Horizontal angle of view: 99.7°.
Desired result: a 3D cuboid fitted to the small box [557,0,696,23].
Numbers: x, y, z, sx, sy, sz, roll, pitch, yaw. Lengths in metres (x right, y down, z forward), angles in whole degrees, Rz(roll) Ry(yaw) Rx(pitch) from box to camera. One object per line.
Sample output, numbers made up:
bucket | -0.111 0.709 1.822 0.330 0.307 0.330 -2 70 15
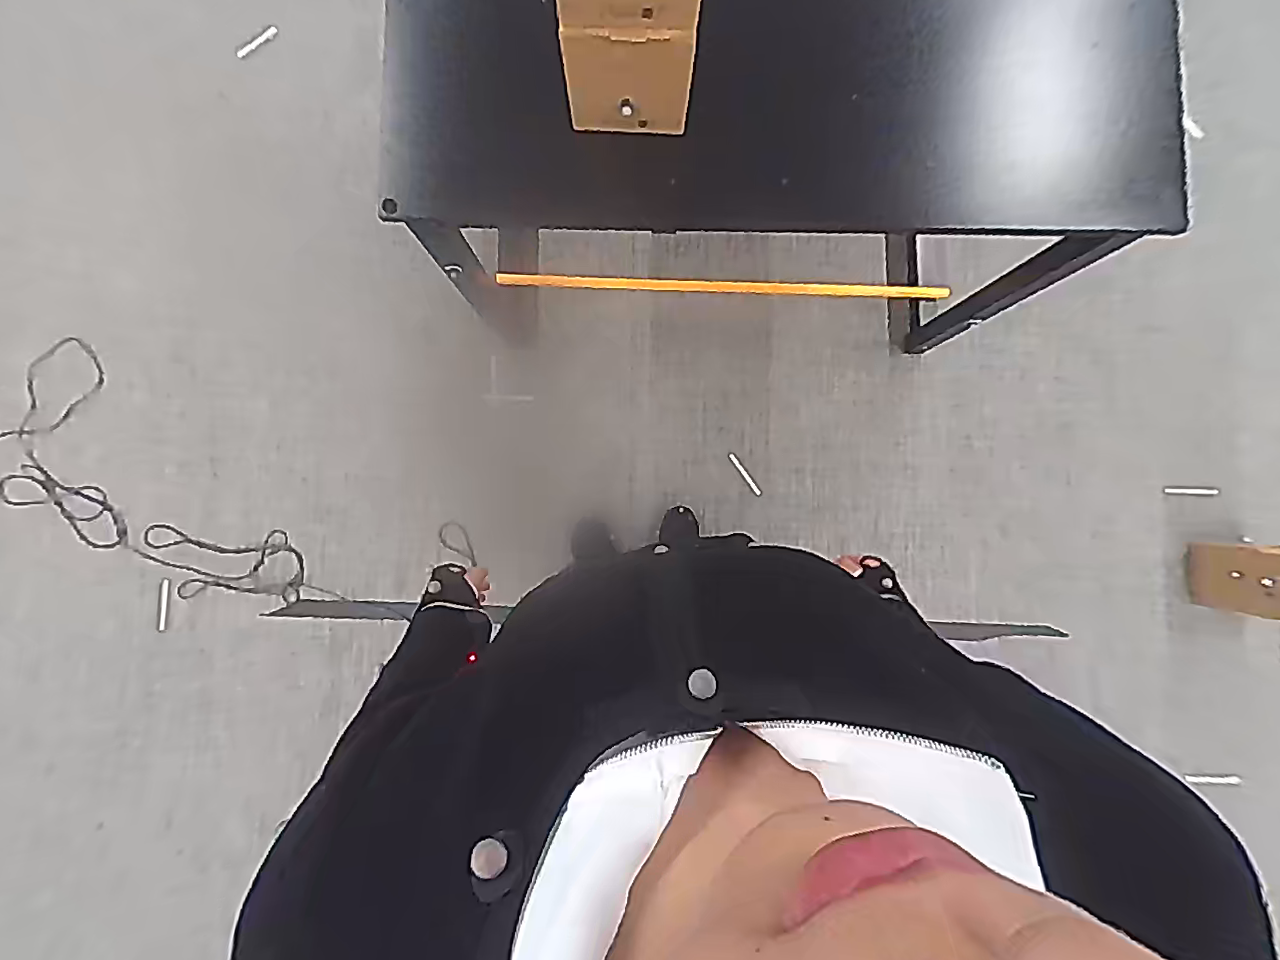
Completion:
small box | -0.016 -0.629 0.568 0.168 0.176 0.179 -1 87 -1

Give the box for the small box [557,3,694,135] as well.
small box | -0.016 -0.611 0.731 0.168 0.176 0.179 2 87 0

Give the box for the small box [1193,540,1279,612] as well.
small box | 1.630 0.250 1.436 0.168 0.176 0.179 -1 88 0

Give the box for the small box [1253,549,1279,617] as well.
small box | 1.629 0.247 1.274 0.179 0.176 0.168 -3 86 1
